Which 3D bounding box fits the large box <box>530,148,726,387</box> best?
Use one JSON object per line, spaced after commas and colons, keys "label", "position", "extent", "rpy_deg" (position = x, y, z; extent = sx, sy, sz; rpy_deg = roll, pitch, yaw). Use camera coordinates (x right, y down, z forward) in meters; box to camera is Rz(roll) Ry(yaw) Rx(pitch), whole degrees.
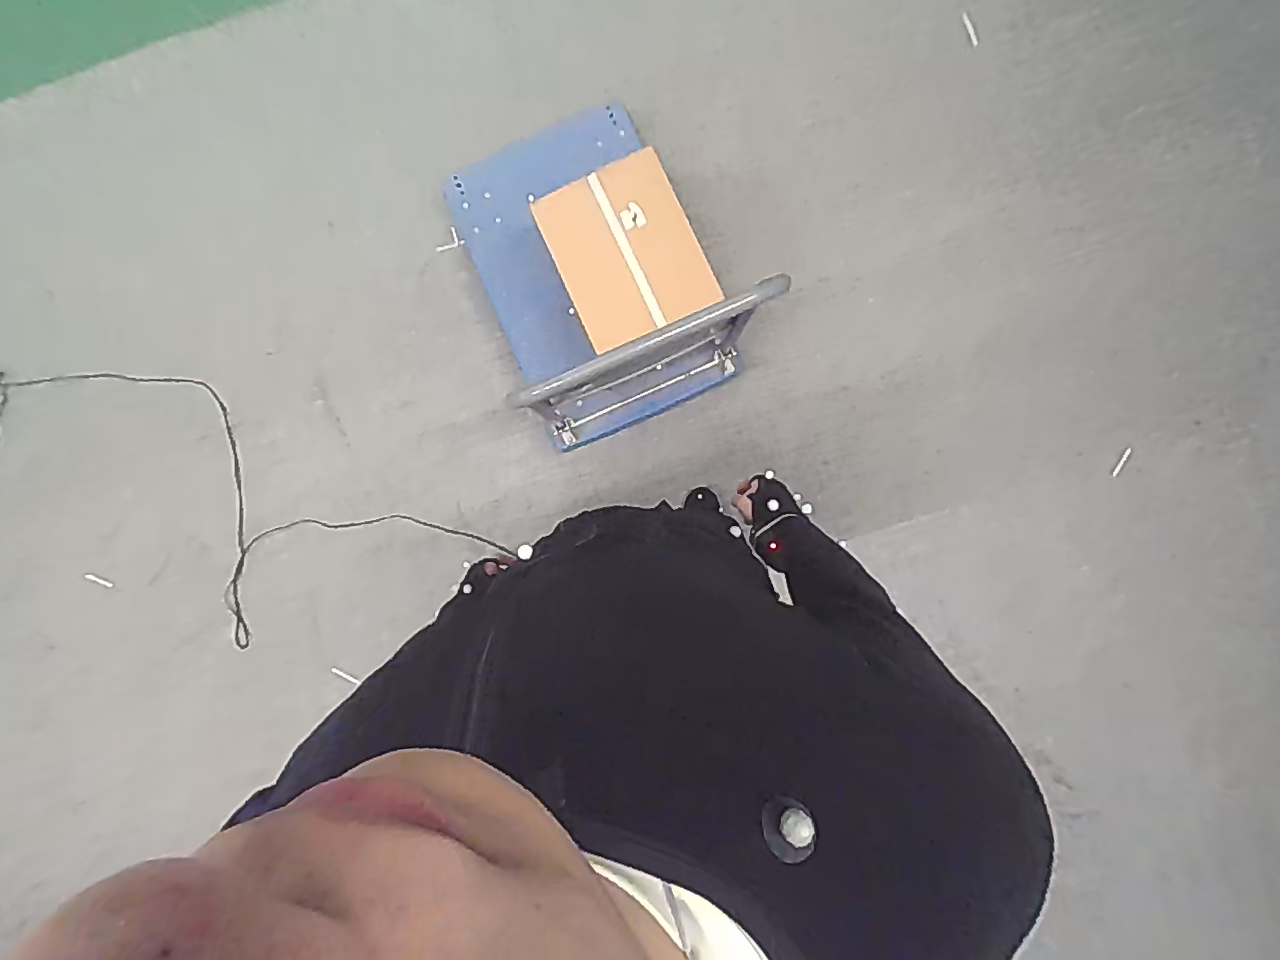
{"label": "large box", "position": [-0.021, -0.501, 1.355], "extent": [0.320, 0.320, 0.408], "rpy_deg": [-24, 86, 0]}
